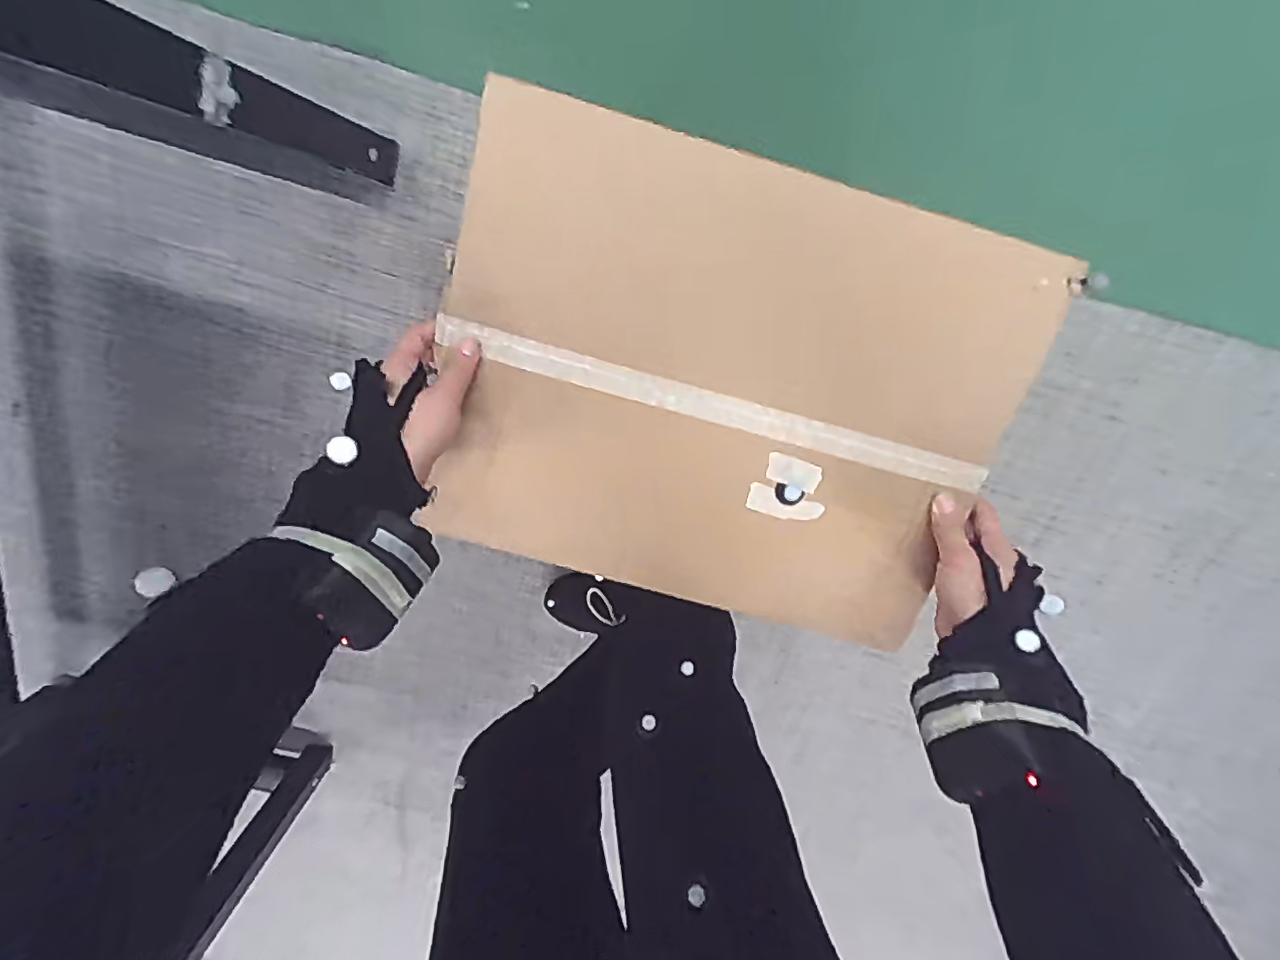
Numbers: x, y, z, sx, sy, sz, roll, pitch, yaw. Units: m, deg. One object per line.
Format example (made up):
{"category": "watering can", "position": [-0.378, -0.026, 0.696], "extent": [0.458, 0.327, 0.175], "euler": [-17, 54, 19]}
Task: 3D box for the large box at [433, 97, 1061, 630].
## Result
{"category": "large box", "position": [0.062, -0.101, 0.541], "extent": [0.408, 0.320, 0.320], "euler": [14, 107, -4]}
